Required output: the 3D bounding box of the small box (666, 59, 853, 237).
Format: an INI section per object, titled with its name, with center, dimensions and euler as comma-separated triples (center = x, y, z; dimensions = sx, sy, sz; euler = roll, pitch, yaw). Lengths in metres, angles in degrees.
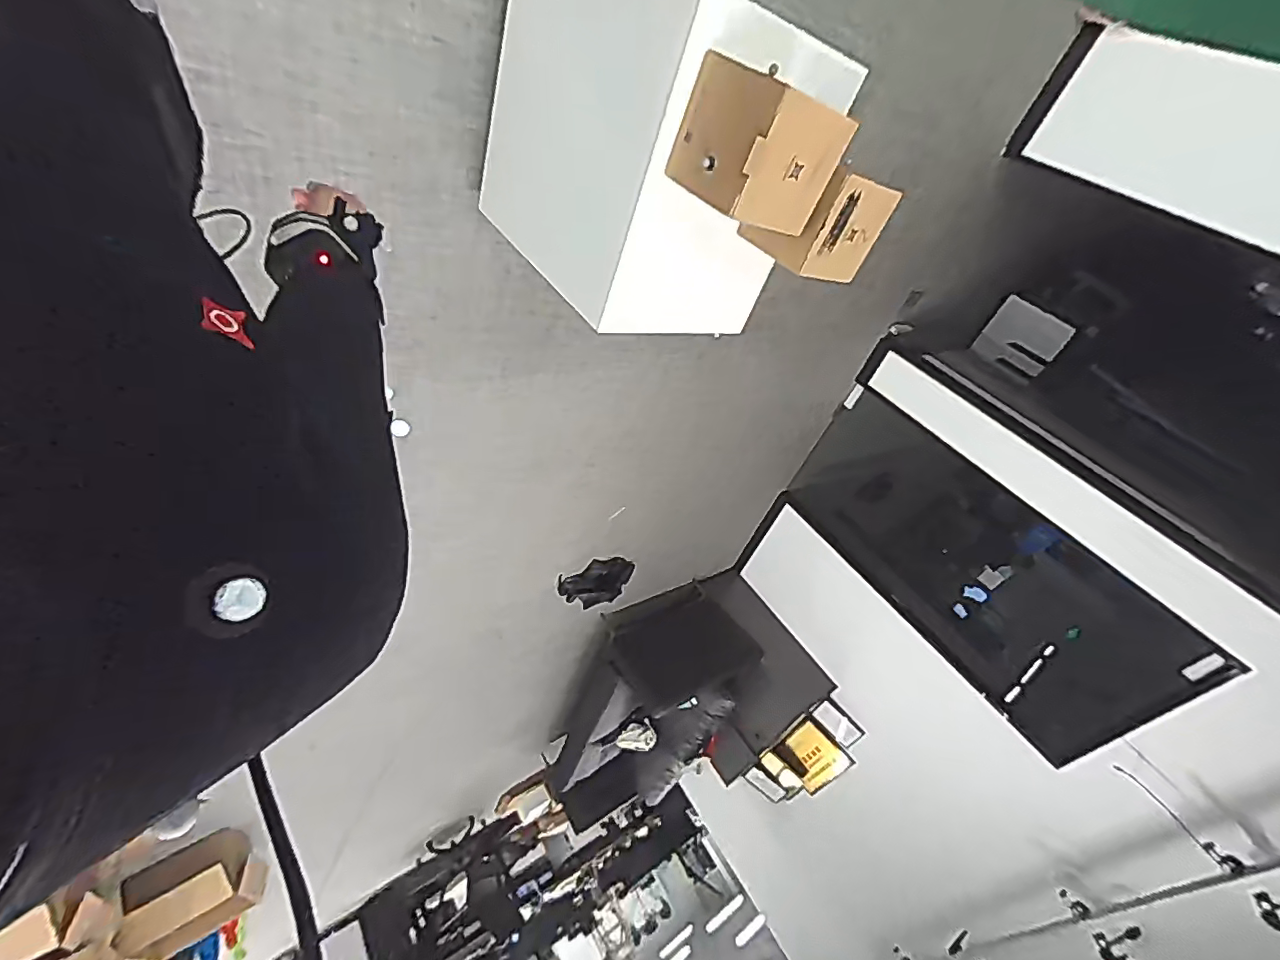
[small box]
center = 0.169, -0.490, 0.806
dimensions = 0.179, 0.176, 0.168
euler = -13, 141, -40
